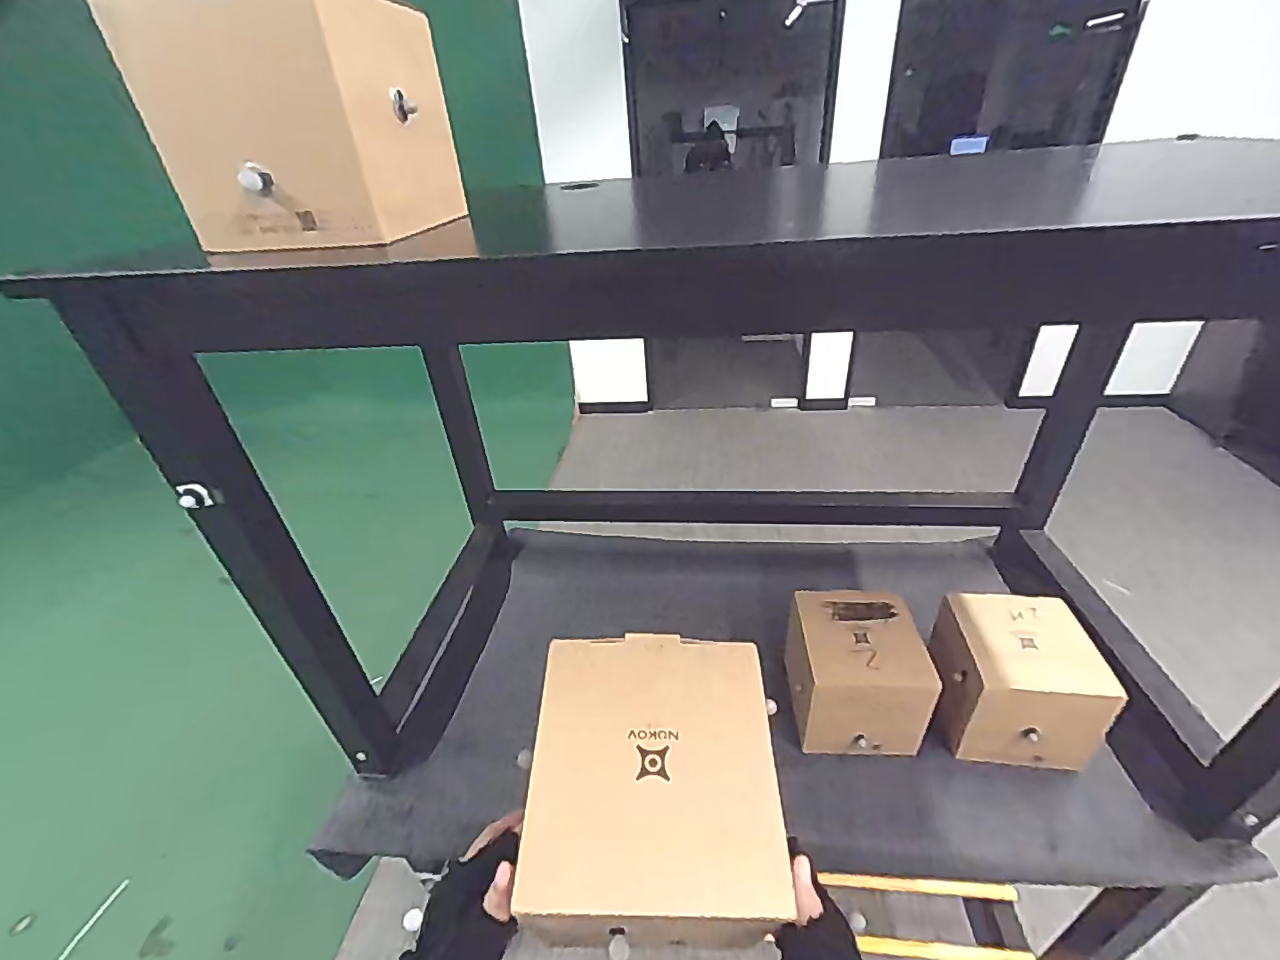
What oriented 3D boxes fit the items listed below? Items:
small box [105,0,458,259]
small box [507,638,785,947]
[{"bbox_3d":[-0.278,-0.299,0.476,0.168,0.176,0.179,0,34,8],"label":"small box"},{"bbox_3d":[0.006,0.245,0.424,0.168,0.176,0.179,1,43,0],"label":"small box"}]
